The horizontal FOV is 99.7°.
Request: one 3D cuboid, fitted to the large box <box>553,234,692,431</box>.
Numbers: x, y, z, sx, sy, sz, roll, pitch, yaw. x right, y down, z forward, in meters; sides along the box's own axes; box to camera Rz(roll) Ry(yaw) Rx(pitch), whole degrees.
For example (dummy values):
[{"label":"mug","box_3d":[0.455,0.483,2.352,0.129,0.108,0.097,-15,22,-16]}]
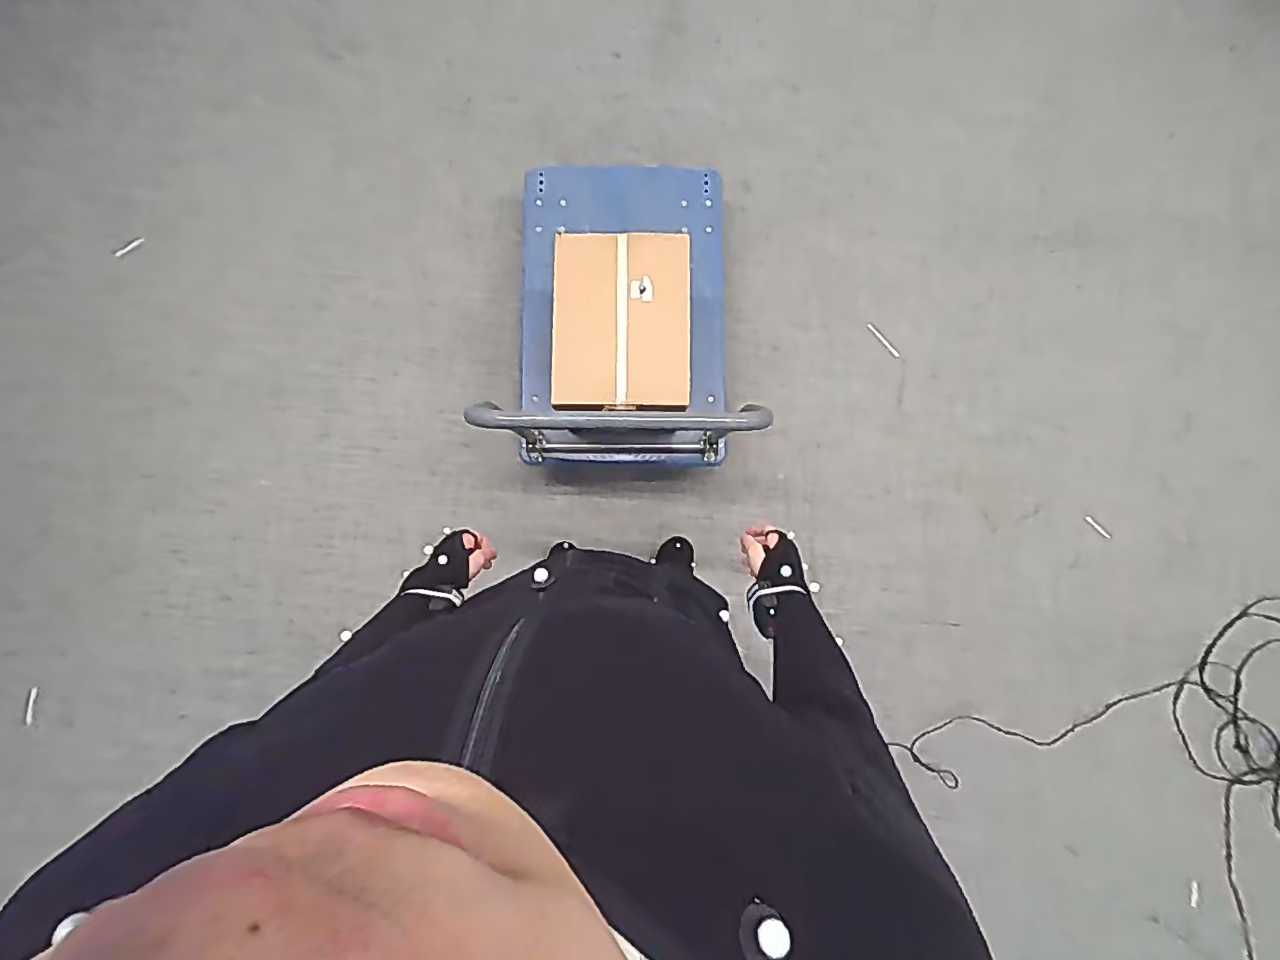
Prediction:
[{"label":"large box","box_3d":[-0.039,-0.349,1.368,0.320,0.320,0.408,0,84,-1]}]
